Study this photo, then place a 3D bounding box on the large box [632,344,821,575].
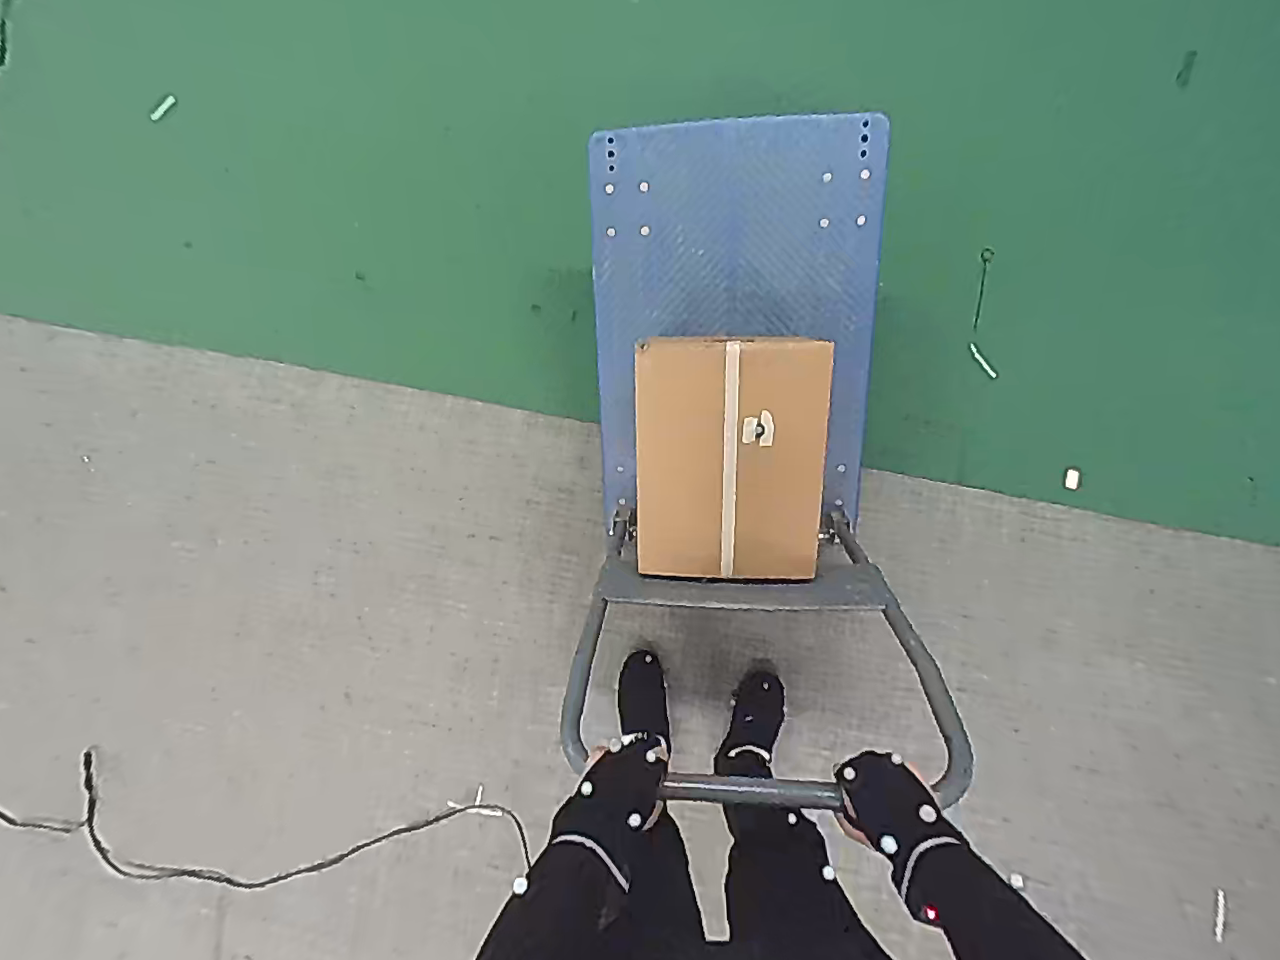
[{"bbox_3d":[0.163,-0.058,1.074,0.320,0.320,0.408,1,105,6],"label":"large box"}]
